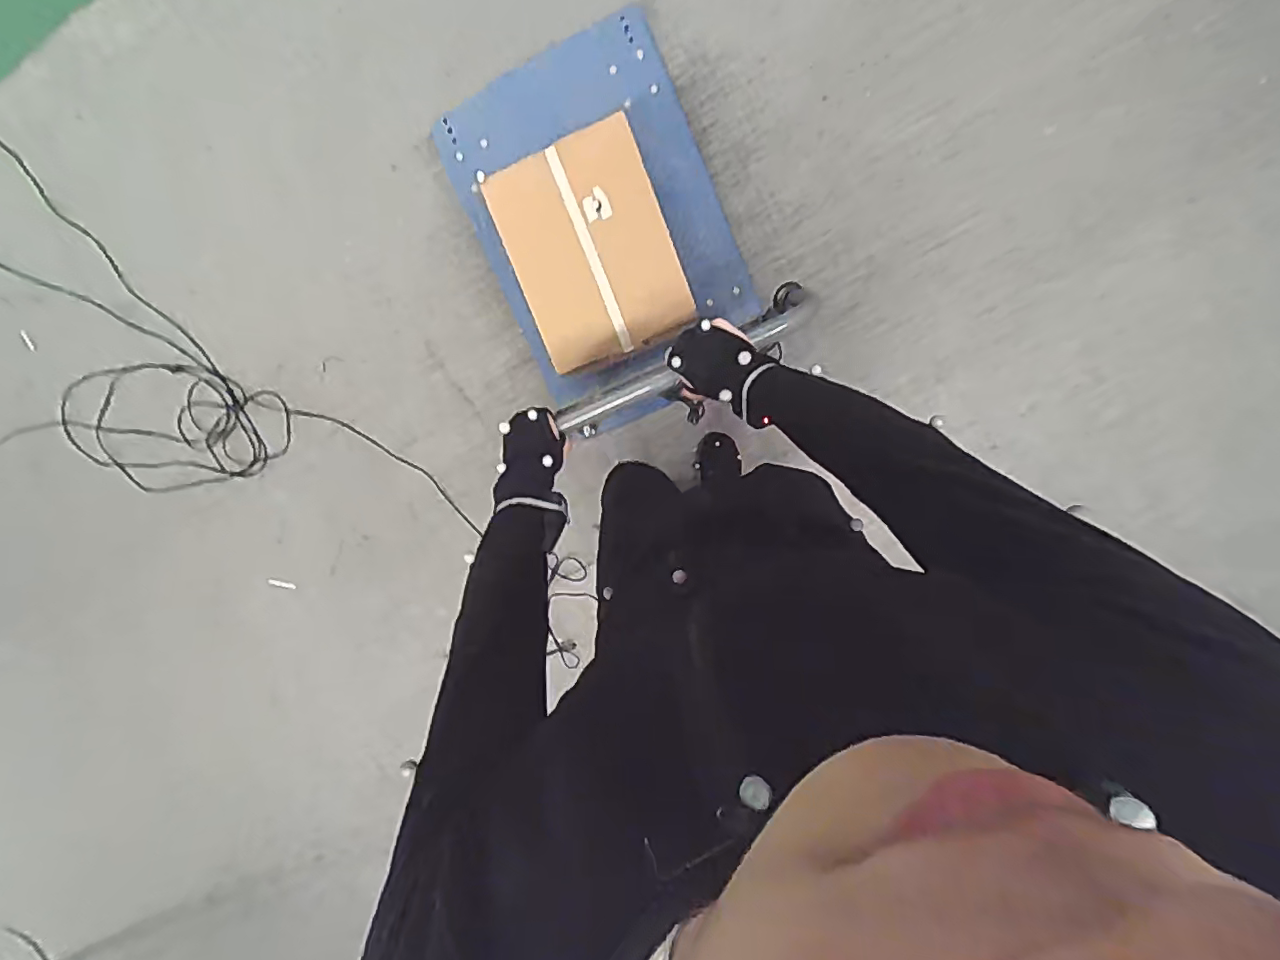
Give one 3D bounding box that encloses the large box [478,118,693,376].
[{"bbox_3d":[-0.092,-0.478,1.213,0.320,0.320,0.408,-21,97,8],"label":"large box"}]
